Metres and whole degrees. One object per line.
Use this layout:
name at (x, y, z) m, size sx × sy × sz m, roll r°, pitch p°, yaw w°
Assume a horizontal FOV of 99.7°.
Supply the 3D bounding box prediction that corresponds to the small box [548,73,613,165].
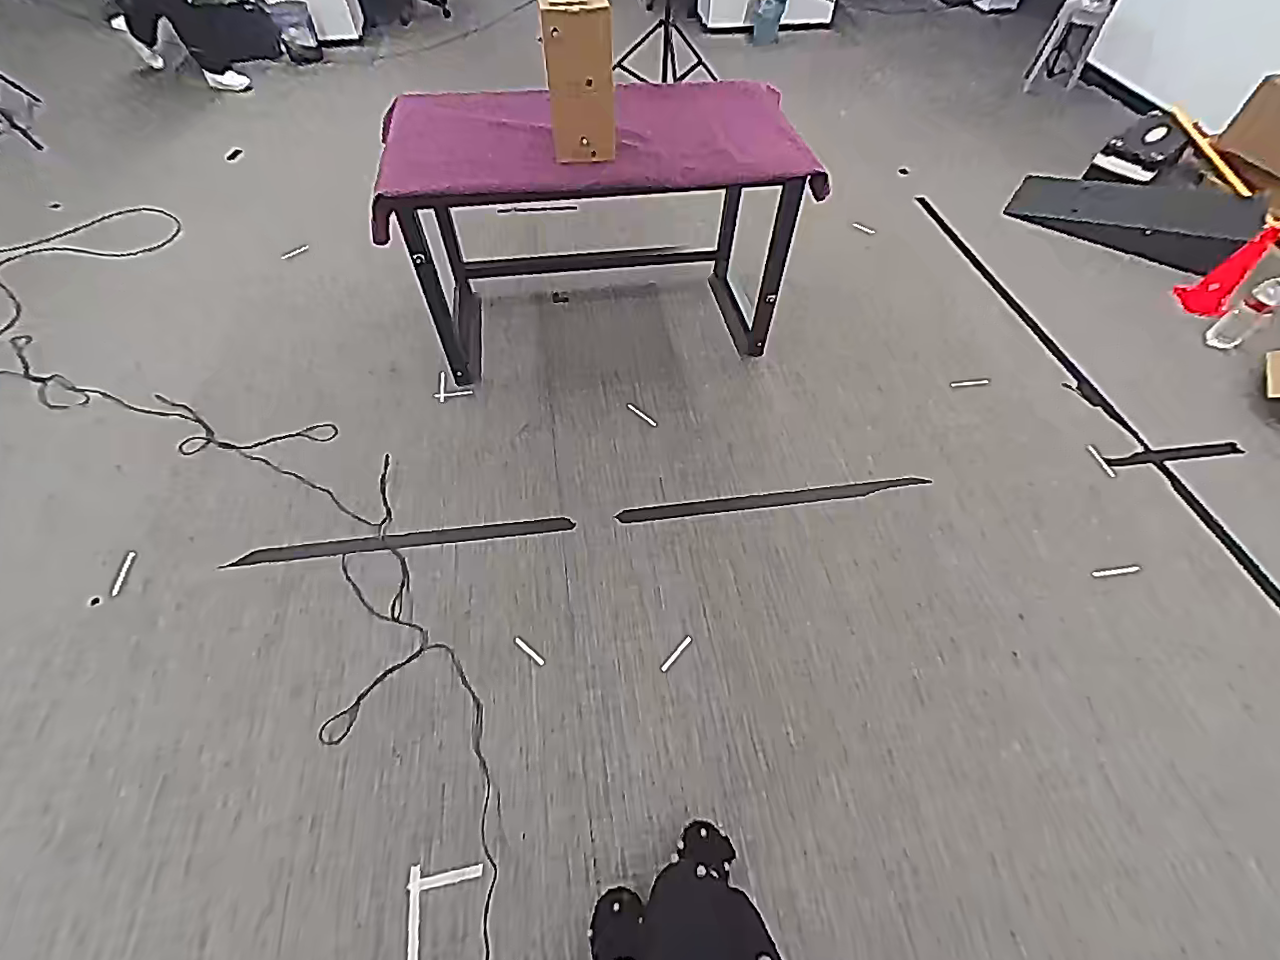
small box at (-0.164, -1.001, 1.500) m, size 0.168 × 0.176 × 0.179 m, roll -6°, pitch 54°, yaw -4°
